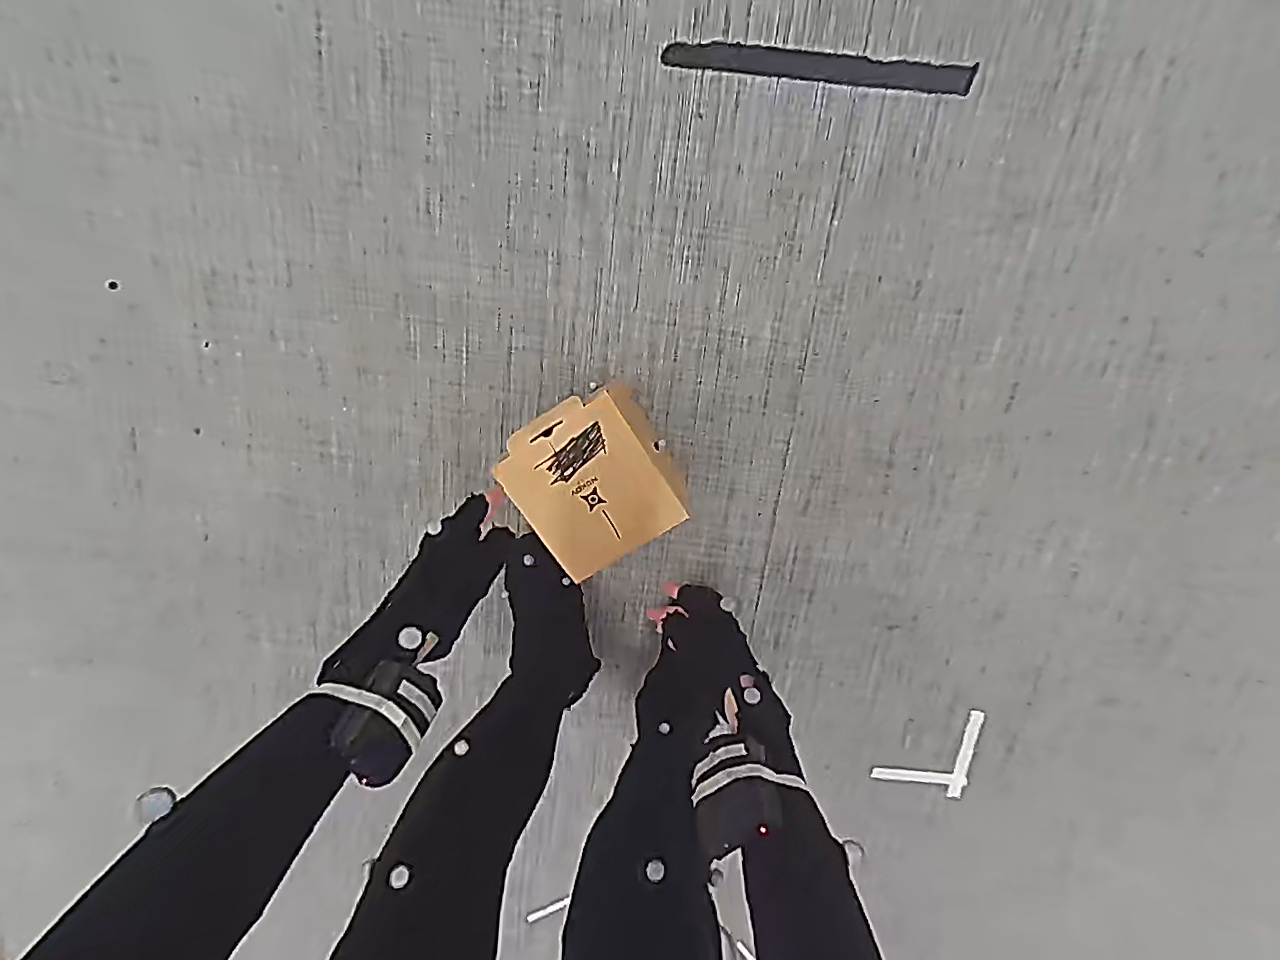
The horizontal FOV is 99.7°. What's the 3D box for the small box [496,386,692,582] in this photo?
[{"bbox_3d":[-0.051,-0.008,0.697,0.168,0.176,0.179,-31,103,11],"label":"small box"}]
